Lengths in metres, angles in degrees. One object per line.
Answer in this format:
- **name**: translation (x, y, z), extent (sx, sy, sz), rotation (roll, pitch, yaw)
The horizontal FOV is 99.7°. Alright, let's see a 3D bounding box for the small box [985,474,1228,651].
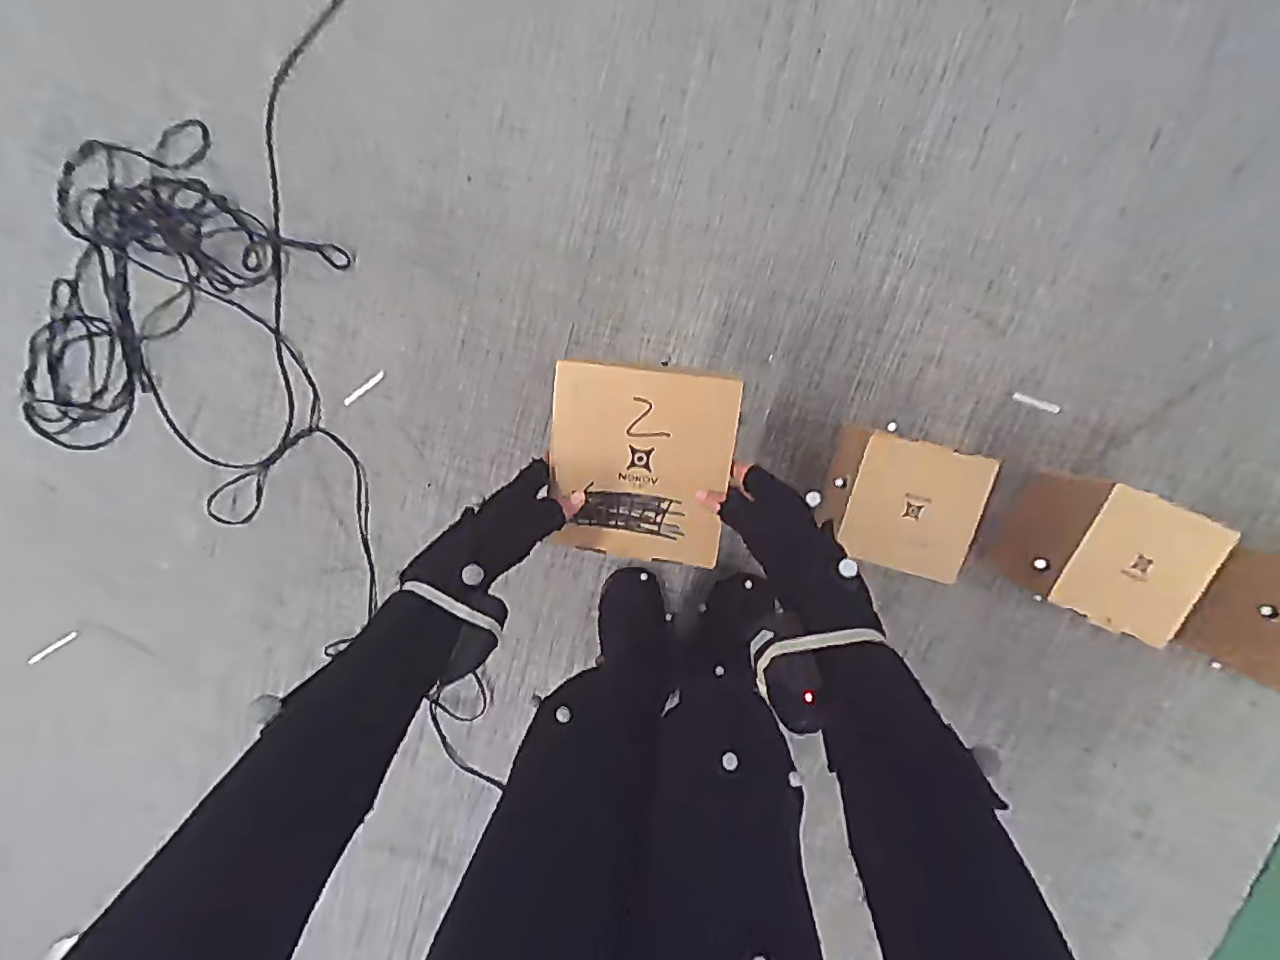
- **small box**: translation (0.643, 0.104, 0.776), extent (0.168, 0.176, 0.179), rotation (24, 100, 2)

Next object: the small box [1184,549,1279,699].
- **small box**: translation (0.941, 0.218, 0.759), extent (0.168, 0.176, 0.179), rotation (19, 99, 3)

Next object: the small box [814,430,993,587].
- **small box**: translation (0.368, 0.029, 0.795), extent (0.168, 0.176, 0.179), rotation (15, 101, 6)
